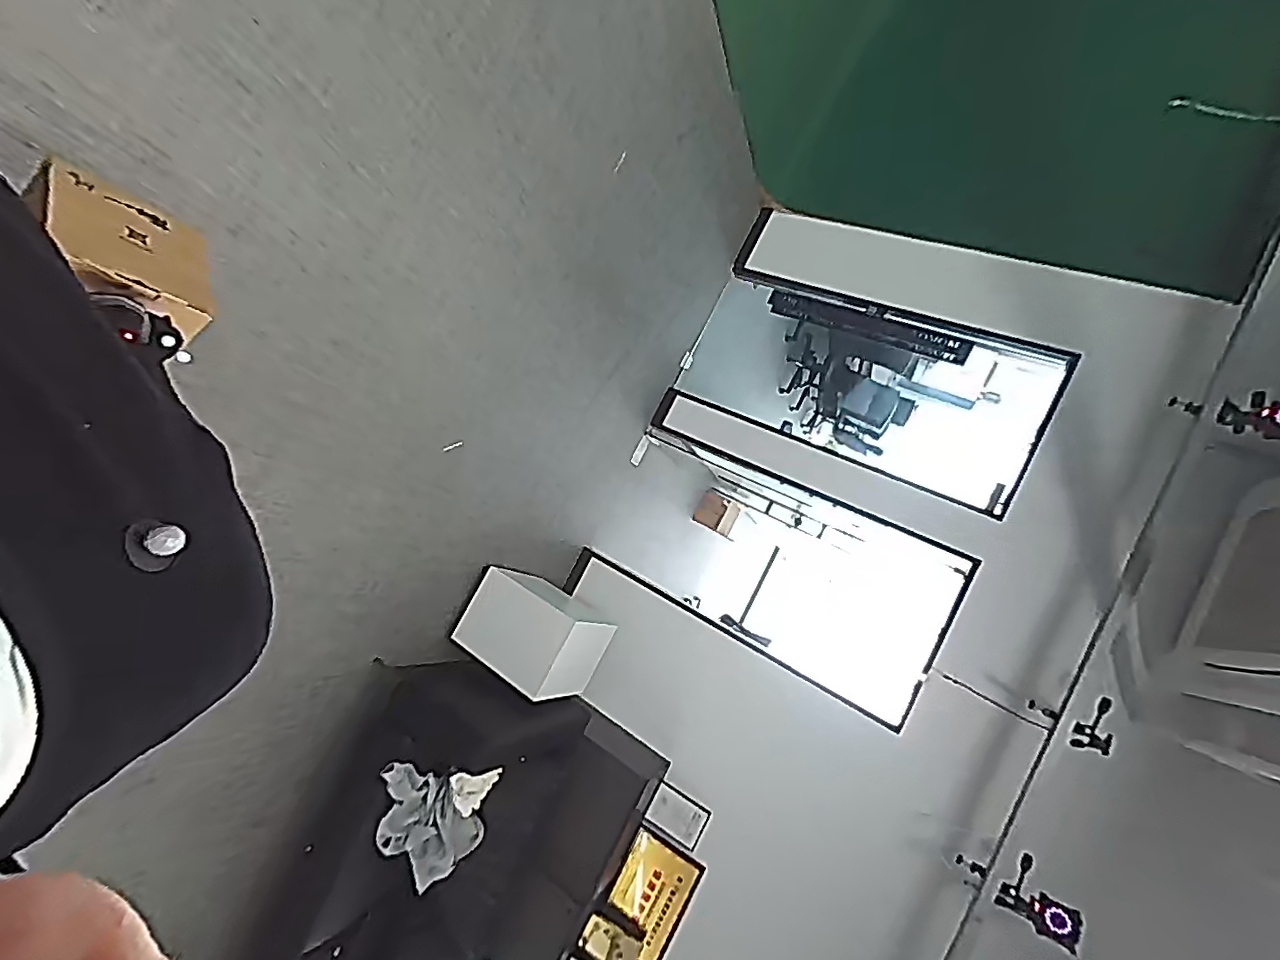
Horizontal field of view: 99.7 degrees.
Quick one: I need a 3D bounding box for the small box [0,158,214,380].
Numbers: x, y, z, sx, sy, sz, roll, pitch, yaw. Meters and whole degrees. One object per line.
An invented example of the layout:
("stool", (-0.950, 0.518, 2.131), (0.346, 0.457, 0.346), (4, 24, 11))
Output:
("small box", (-0.708, -0.261, 0.712), (0.176, 0.179, 0.168), (-35, 157, 16))
